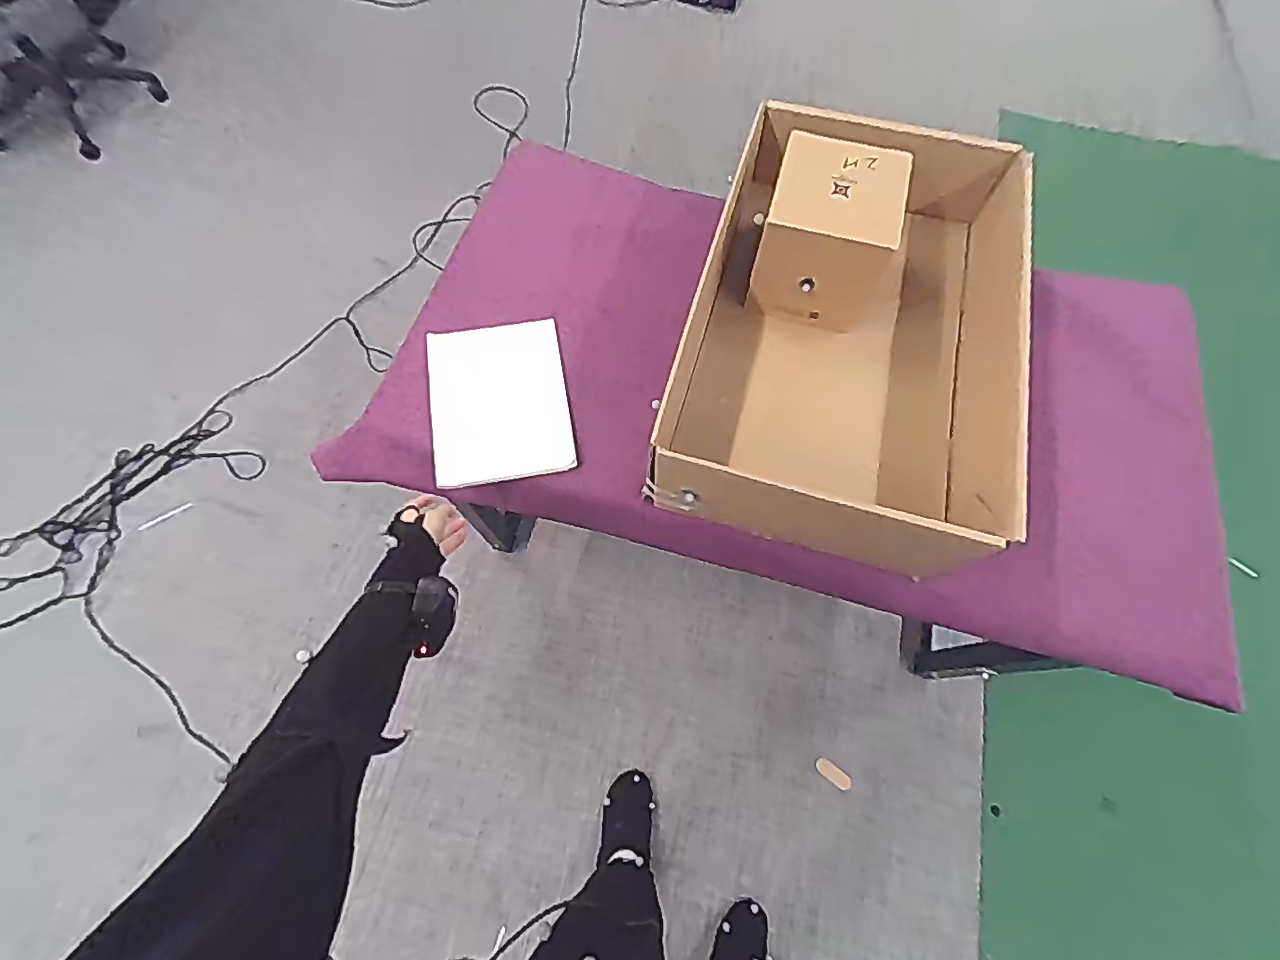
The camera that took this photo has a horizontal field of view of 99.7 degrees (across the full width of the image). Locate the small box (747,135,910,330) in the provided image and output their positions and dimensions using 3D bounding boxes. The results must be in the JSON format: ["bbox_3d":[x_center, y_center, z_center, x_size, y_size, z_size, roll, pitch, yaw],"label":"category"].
[{"bbox_3d":[0.258,-0.344,0.773,0.168,0.176,0.179,15,69,6],"label":"small box"}]
